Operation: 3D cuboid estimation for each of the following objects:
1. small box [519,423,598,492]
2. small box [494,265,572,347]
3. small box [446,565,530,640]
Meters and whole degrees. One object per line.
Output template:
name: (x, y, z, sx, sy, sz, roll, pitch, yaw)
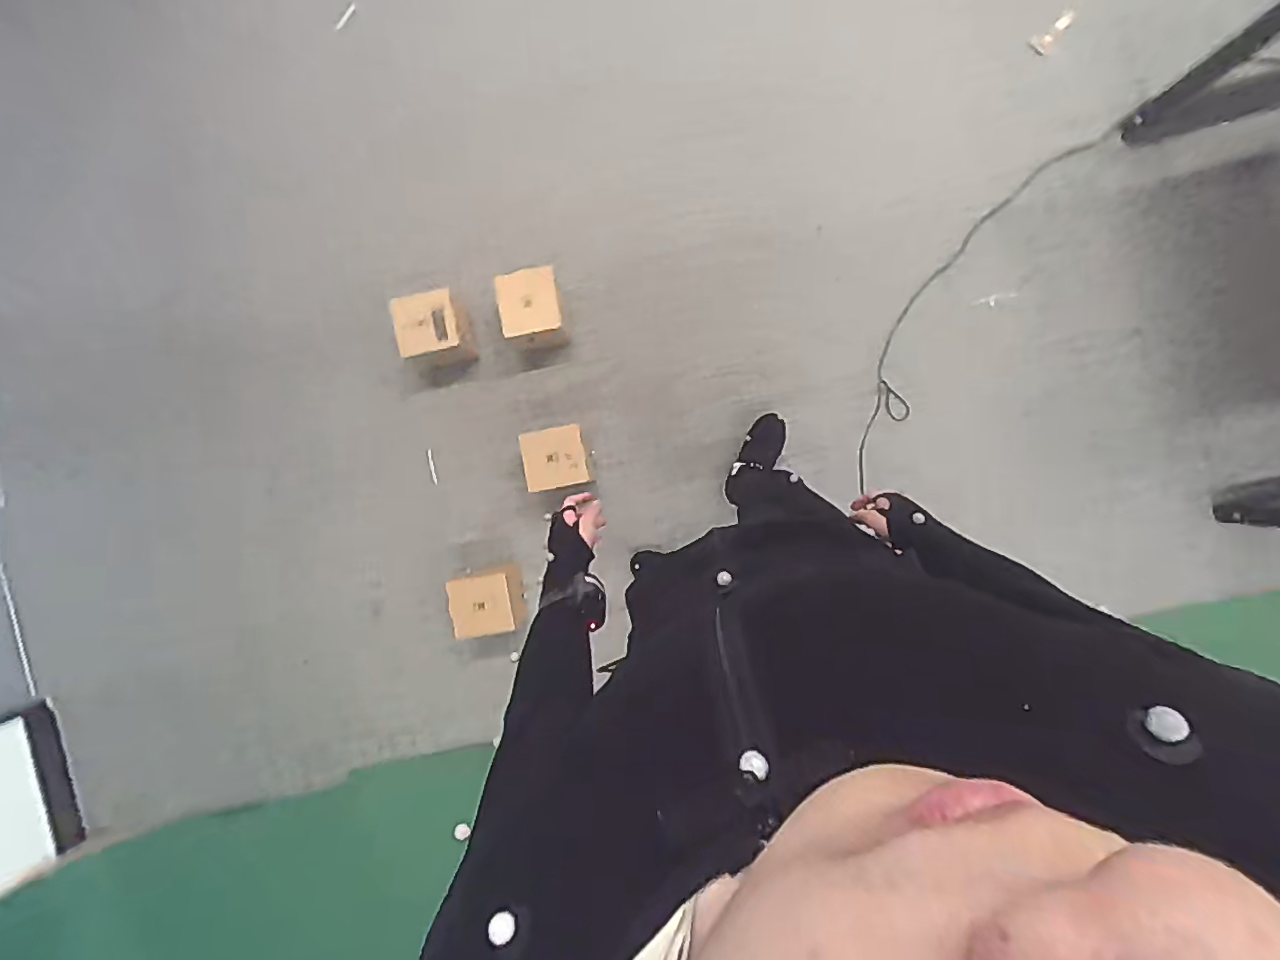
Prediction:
small box: (-0.229, -0.062, 1.556, 0.179, 0.176, 0.168, -11, 91, 4)
small box: (-0.302, -0.490, 1.555, 0.168, 0.176, 0.179, -10, 90, 4)
small box: (-0.438, 0.353, 1.581, 0.179, 0.176, 0.168, -10, 91, 3)
